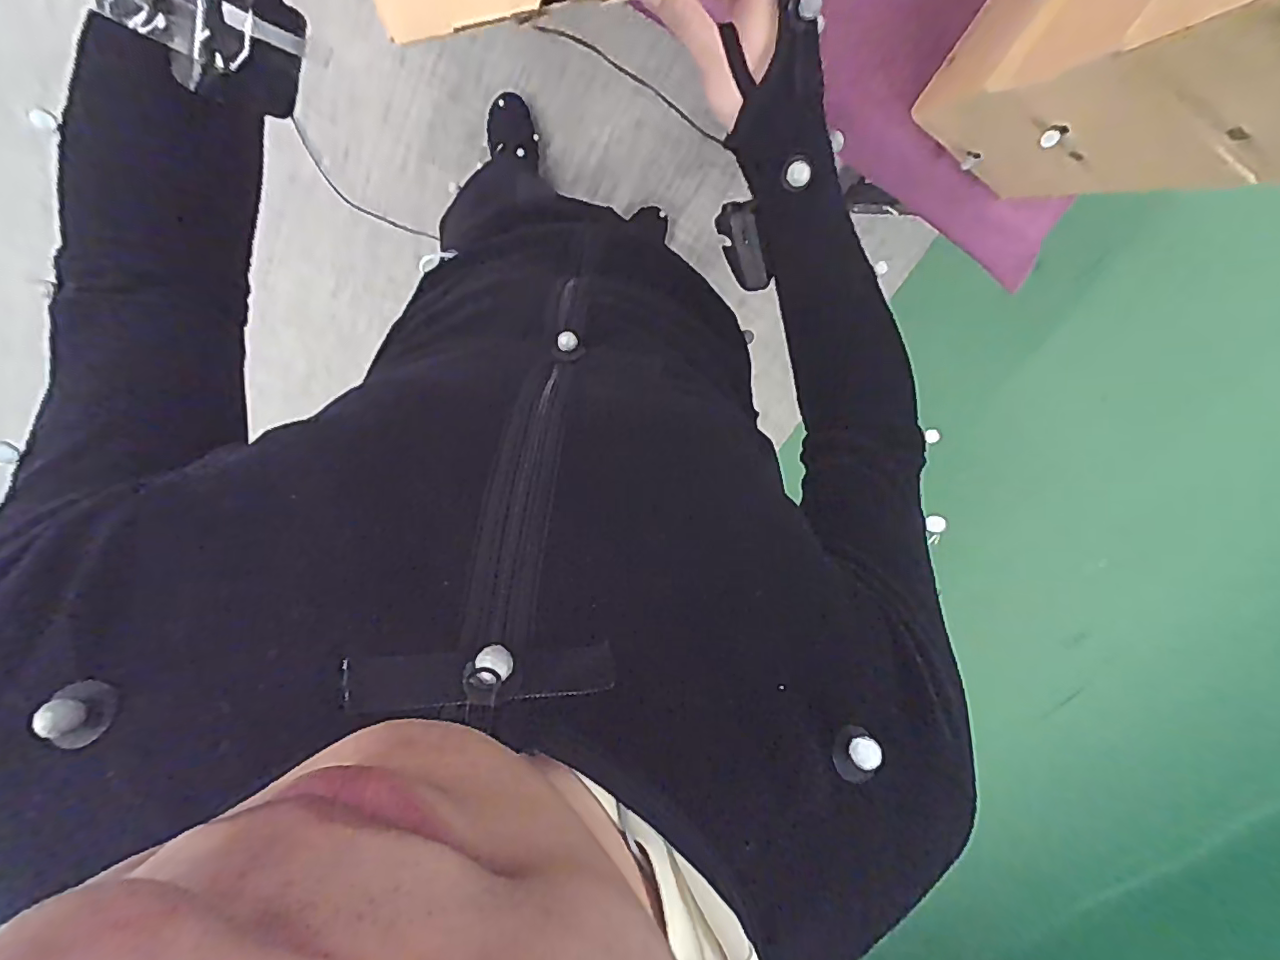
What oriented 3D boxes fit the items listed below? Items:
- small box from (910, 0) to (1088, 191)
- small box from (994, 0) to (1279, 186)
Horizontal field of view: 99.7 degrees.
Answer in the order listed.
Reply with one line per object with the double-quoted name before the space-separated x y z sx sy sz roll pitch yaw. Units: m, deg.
"small box" 0.448 -0.448 0.599 0.179 0.176 0.168 30 112 -14
"small box" 0.454 -0.377 0.451 0.168 0.176 0.179 30 112 -13
